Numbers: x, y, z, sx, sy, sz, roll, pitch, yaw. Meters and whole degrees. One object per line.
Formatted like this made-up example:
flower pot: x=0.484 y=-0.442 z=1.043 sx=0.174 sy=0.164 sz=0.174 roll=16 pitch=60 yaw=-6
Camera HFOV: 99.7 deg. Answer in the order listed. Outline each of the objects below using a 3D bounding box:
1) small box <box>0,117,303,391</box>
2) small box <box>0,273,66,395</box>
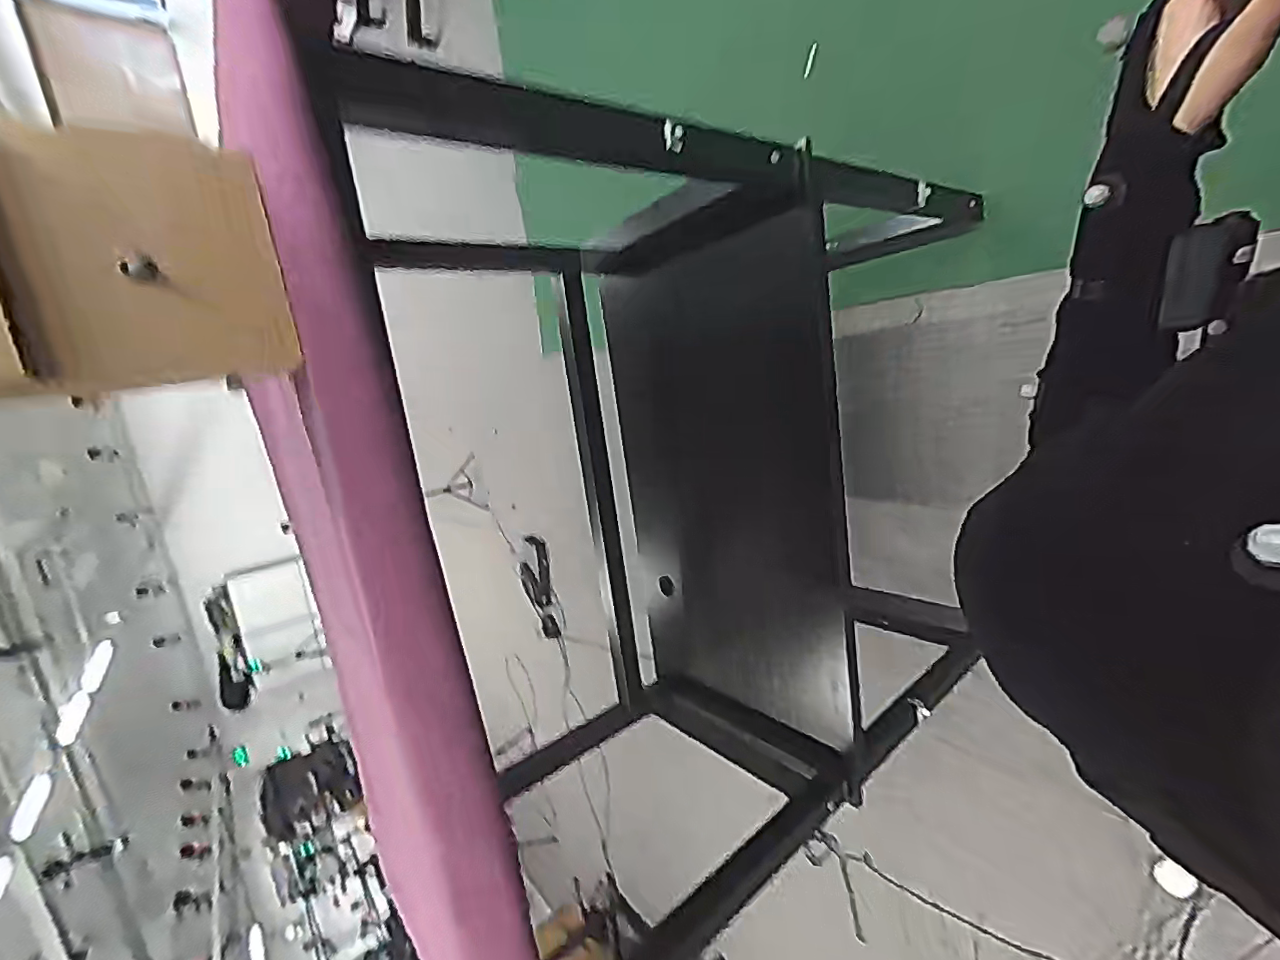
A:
small box: x=-0.424 y=-0.180 z=0.477 sx=0.168 sy=0.176 sz=0.179 roll=6 pitch=109 yaw=52
small box: x=-0.538 y=-0.143 z=0.363 sx=0.168 sy=0.176 sz=0.179 roll=5 pitch=108 yaw=52
